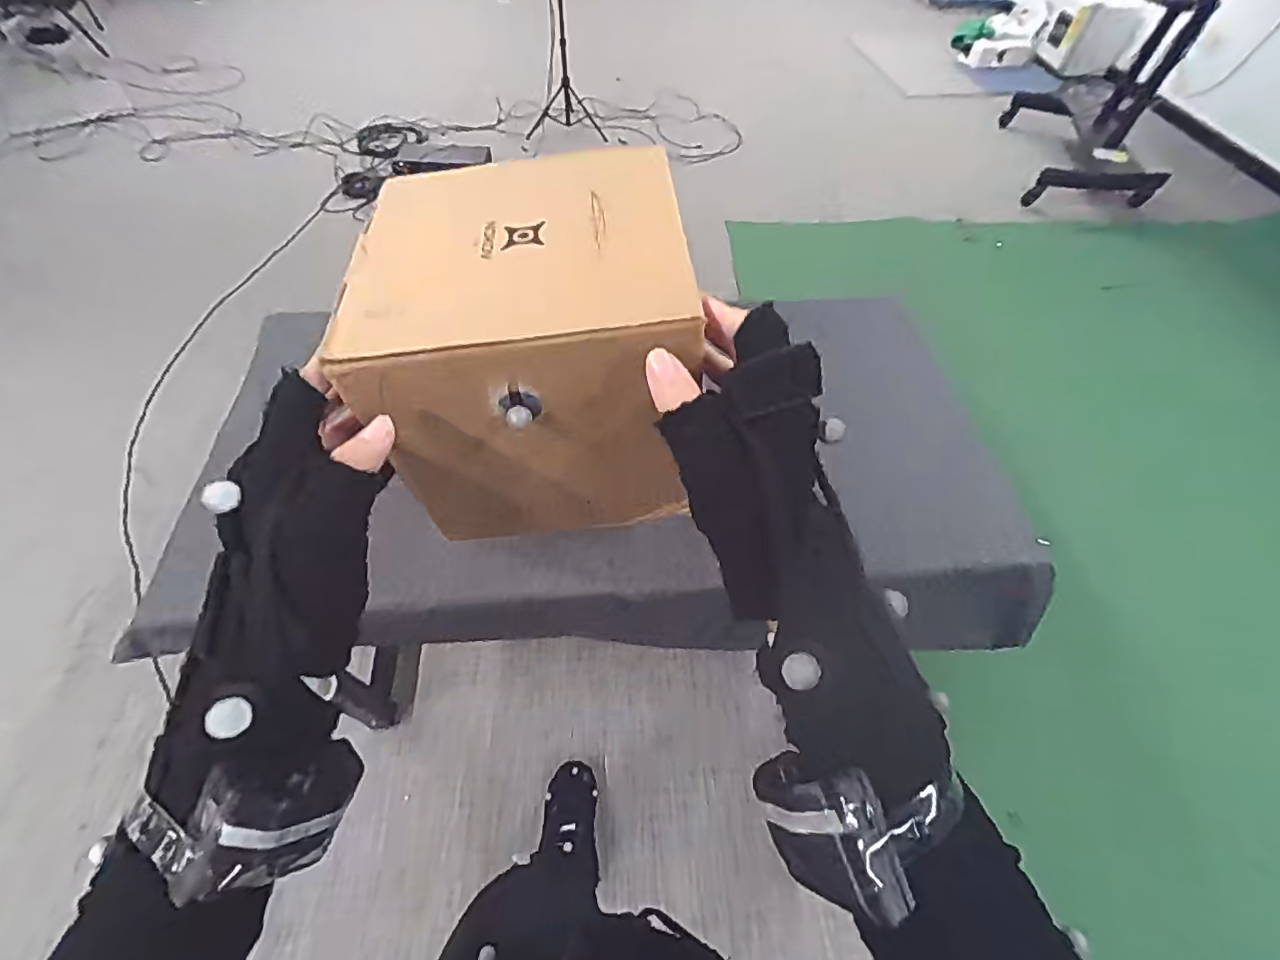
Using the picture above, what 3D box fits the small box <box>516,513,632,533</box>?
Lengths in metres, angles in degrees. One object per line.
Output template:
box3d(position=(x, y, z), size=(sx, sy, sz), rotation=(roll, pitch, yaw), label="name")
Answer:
box3d(position=(-0.095, -0.038, 0.763), size=(0.179, 0.176, 0.168), rotation=(-3, 54, -3), label="small box")

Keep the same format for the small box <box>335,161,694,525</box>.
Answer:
box3d(position=(-0.060, -0.082, 0.365), size=(0.179, 0.176, 0.168), rotation=(-6, 55, 0), label="small box")
